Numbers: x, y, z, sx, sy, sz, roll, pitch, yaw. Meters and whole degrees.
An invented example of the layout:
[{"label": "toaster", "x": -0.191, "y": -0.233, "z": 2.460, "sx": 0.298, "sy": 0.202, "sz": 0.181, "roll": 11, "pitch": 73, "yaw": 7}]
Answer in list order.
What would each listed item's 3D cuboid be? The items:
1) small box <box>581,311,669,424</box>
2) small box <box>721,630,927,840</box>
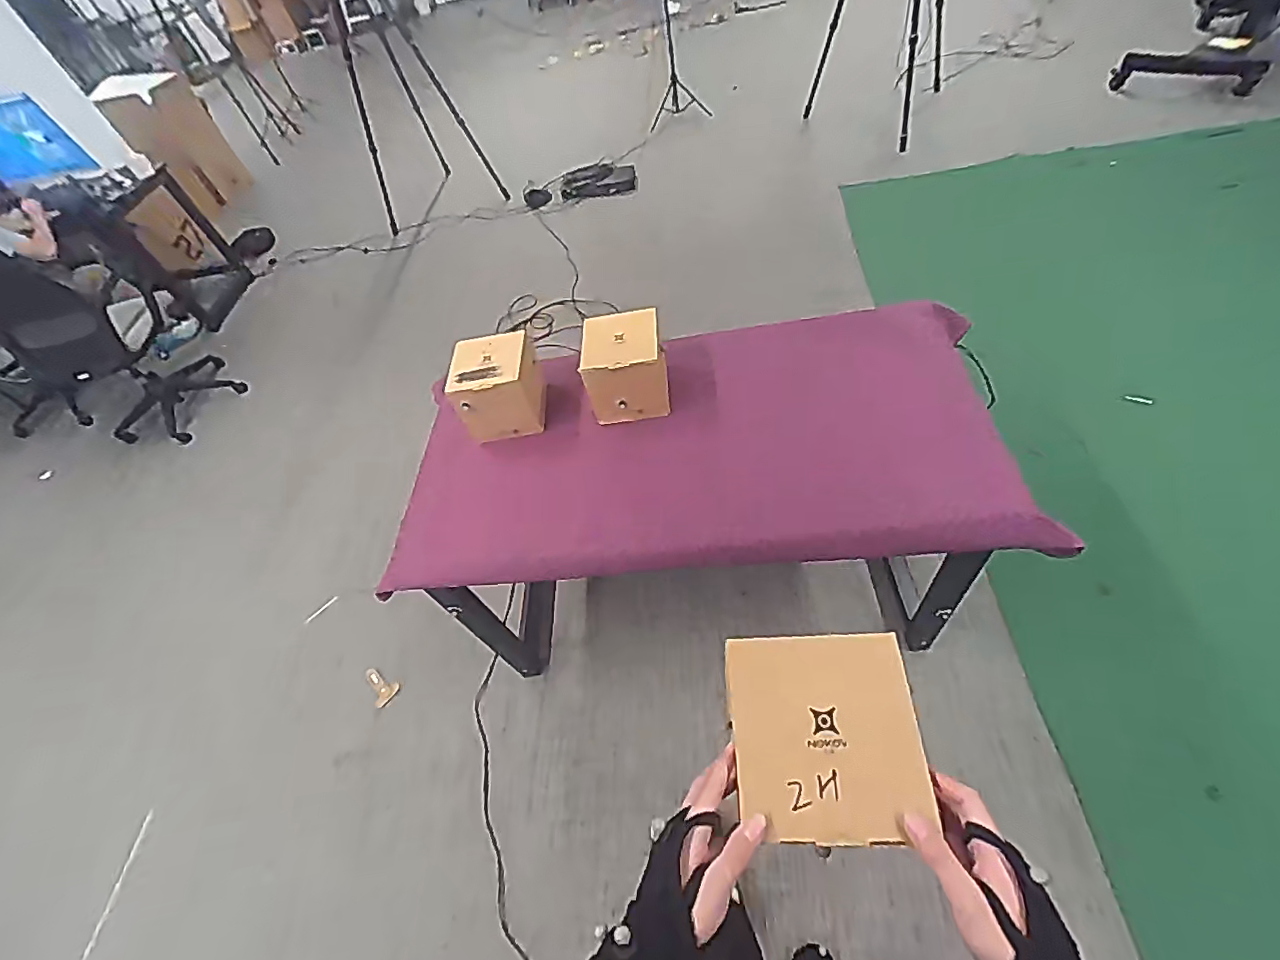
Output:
[{"label": "small box", "x": -0.028, "y": -0.250, "z": 1.217, "sx": 0.168, "sy": 0.176, "sz": 0.179, "roll": -7, "pitch": 54, "yaw": 9}, {"label": "small box", "x": 0.172, "y": 0.268, "z": 0.570, "sx": 0.168, "sy": 0.176, "sz": 0.179, "roll": -4, "pitch": 60, "yaw": 8}]
